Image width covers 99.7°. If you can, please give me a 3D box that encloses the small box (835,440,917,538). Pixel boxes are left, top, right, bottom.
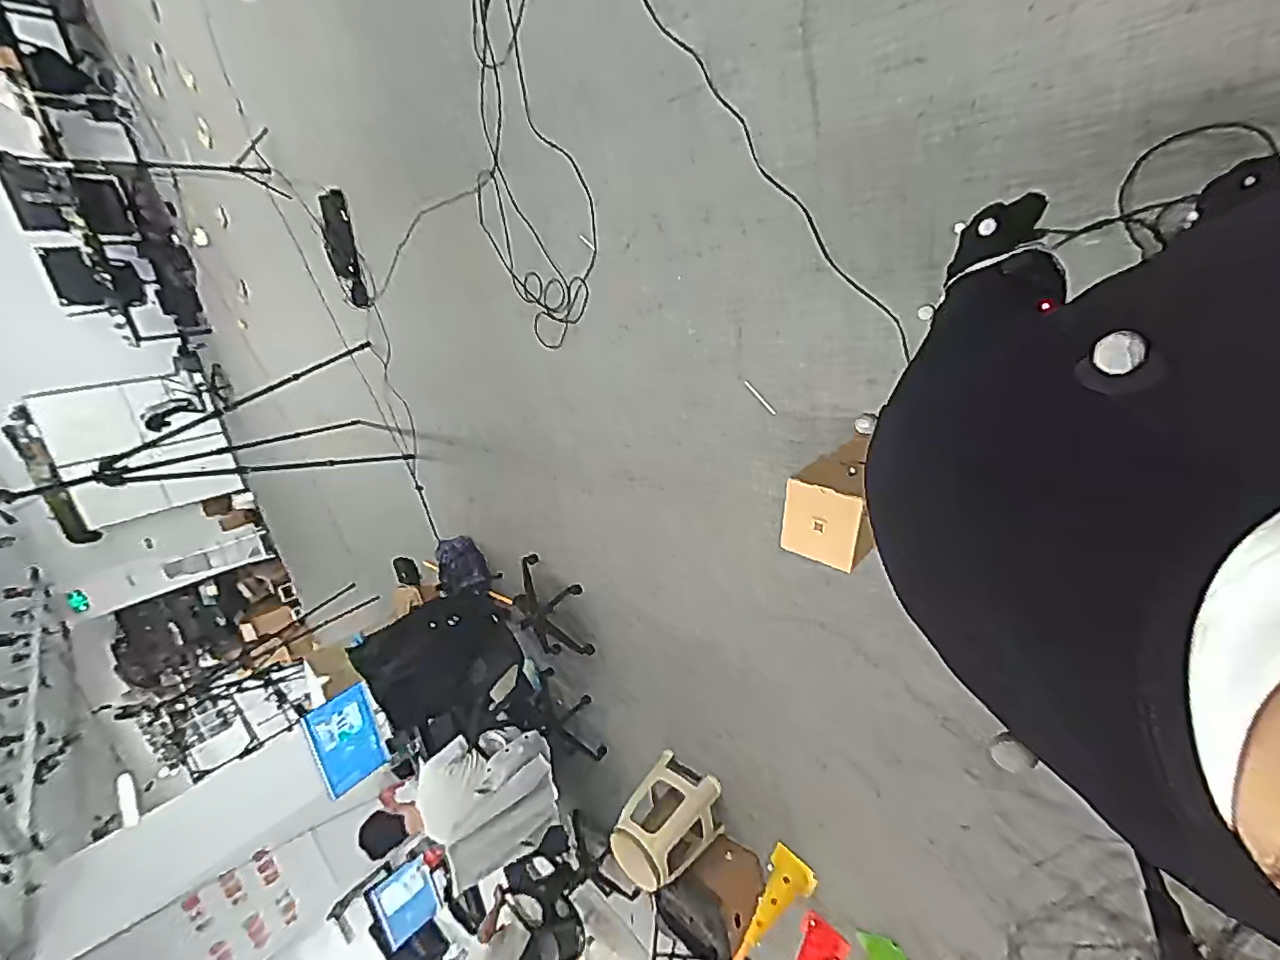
[{"bbox_3d":[0.557,0.012,1.315,0.168,0.176,0.179,14,120,40],"label":"small box"}]

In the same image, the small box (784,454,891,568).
[{"bbox_3d":[0.443,0.062,1.211,0.168,0.176,0.179,20,122,38],"label":"small box"}]
